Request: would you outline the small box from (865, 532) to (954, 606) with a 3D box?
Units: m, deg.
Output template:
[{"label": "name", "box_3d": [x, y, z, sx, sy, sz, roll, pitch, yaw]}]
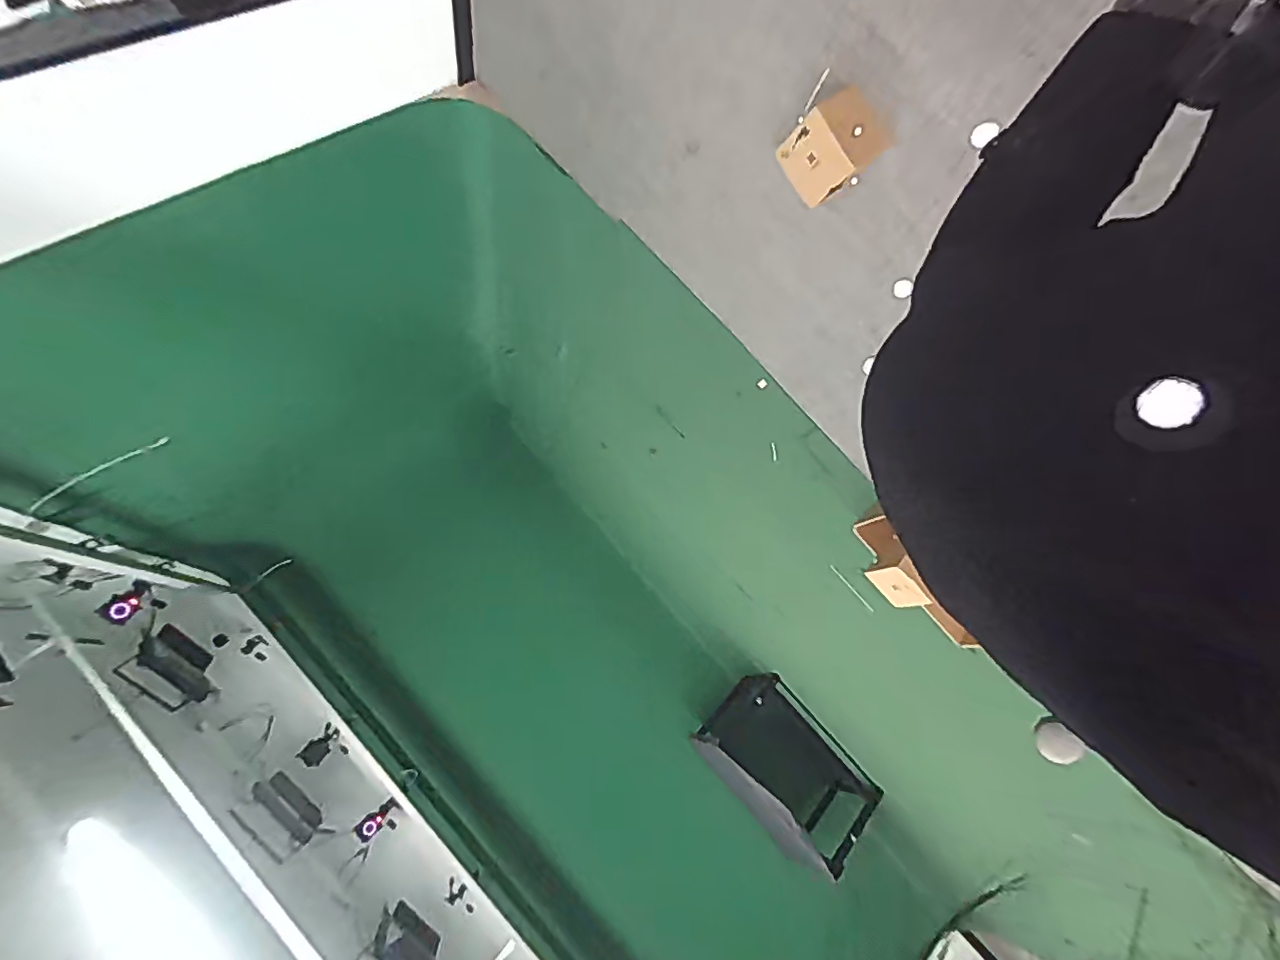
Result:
[{"label": "small box", "box_3d": [0.911, 0.301, 1.826, 0.168, 0.176, 0.179, 47, 156, 2]}]

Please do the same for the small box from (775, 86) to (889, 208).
[{"label": "small box", "box_3d": [0.487, -0.841, 1.366, 0.179, 0.176, 0.168, 51, 157, -8]}]
